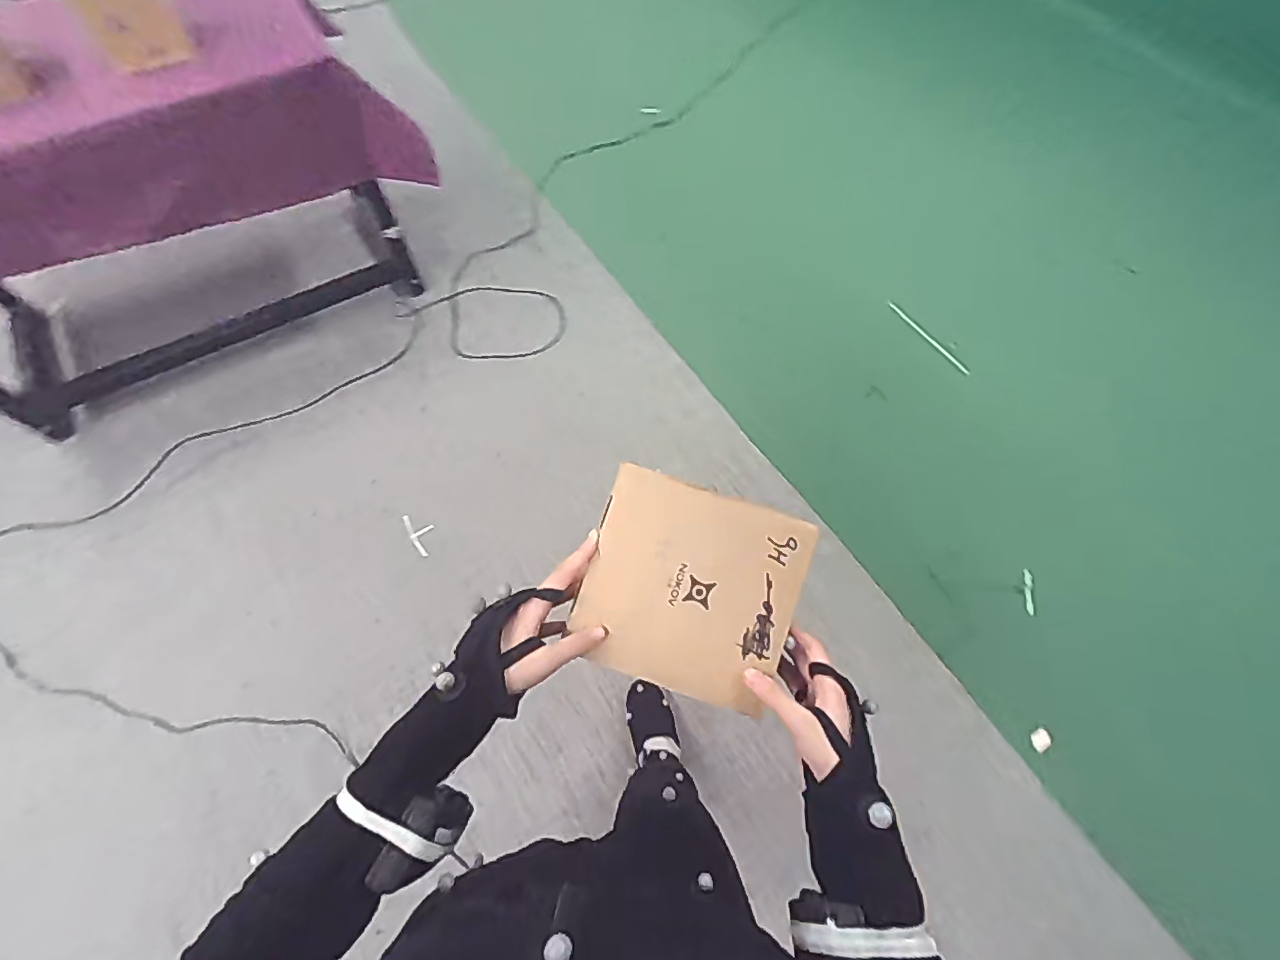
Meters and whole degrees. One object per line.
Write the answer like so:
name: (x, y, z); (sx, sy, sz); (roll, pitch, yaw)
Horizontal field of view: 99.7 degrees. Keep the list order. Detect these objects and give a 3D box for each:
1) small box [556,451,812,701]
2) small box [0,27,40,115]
small box: (0.039, 0.087, 0.528); (0.179, 0.176, 0.168); (19, 84, 4)
small box: (-1.391, -0.868, 1.102); (0.179, 0.176, 0.168); (-28, 67, -15)
